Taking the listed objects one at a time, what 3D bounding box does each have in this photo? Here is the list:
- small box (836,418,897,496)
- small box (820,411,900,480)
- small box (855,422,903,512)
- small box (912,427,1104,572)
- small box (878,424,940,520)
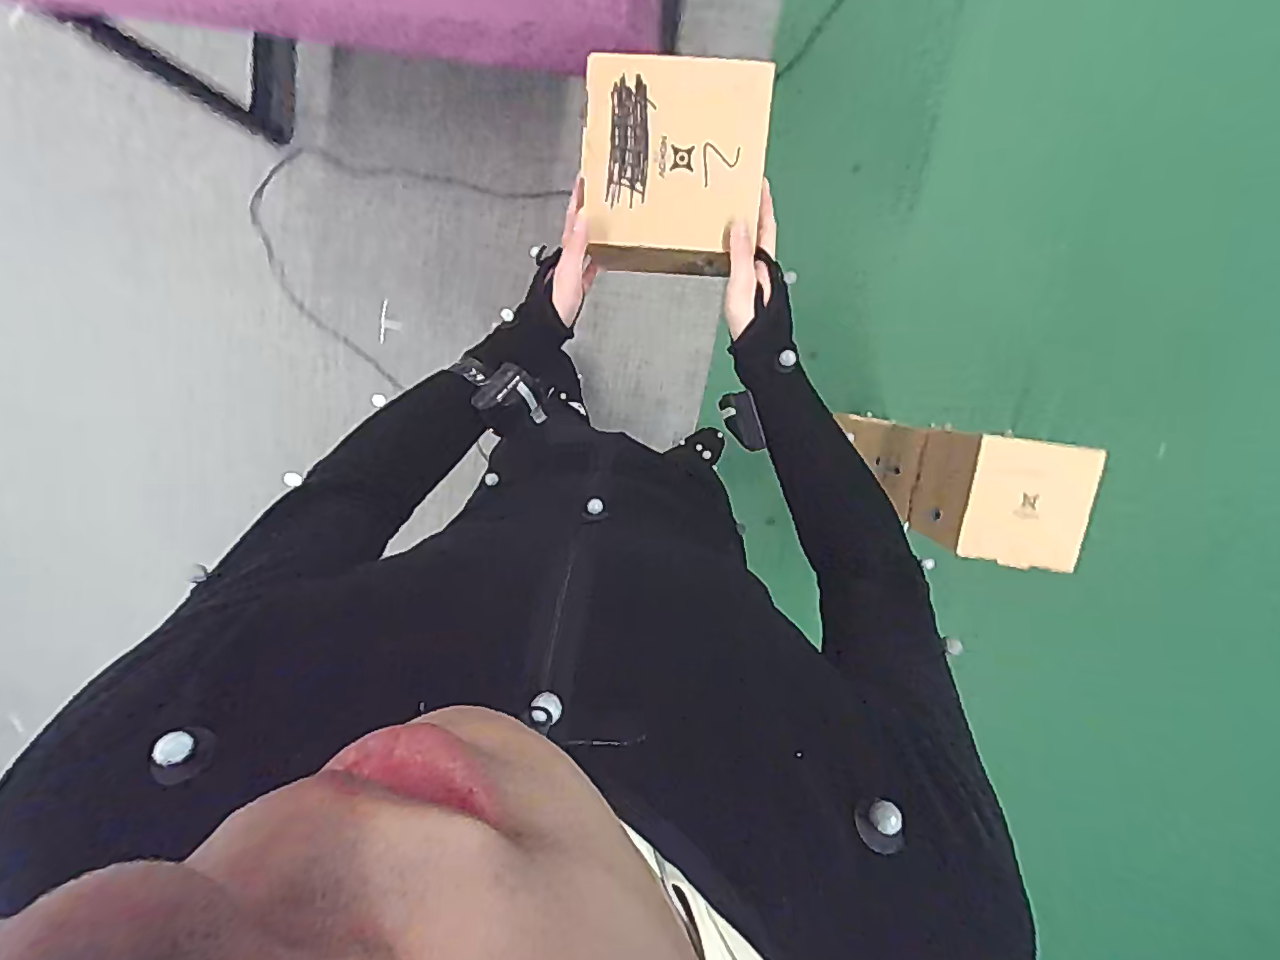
[{"bbox_3d":[0.588,-0.052,1.313,0.168,0.176,0.179,9,100,5],"label":"small box"},{"bbox_3d":[0.603,-0.084,1.471,0.168,0.176,0.179,12,100,4],"label":"small box"},{"bbox_3d":[0.574,-0.028,1.152,0.168,0.176,0.179,7,100,5],"label":"small box"},{"bbox_3d":[0.543,0.020,0.830,0.168,0.176,0.179,9,99,3],"label":"small box"},{"bbox_3d":[0.559,-0.009,0.990,0.179,0.176,0.168,9,100,5],"label":"small box"}]
